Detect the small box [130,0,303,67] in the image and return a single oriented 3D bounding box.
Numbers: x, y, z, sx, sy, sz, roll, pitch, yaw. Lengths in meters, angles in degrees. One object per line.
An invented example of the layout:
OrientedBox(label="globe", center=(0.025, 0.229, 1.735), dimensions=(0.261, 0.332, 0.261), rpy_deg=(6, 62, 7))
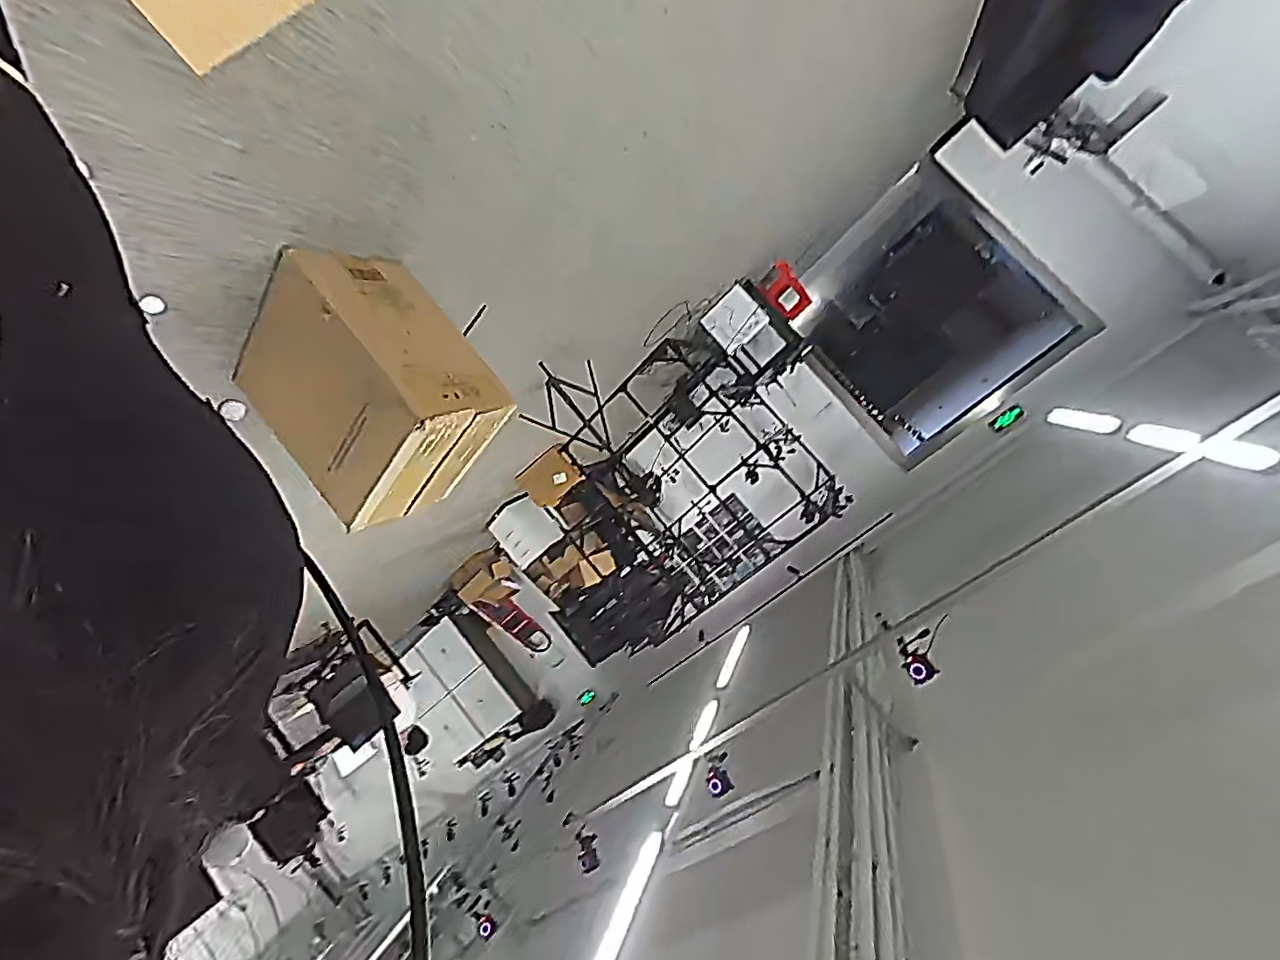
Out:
OrientedBox(label="small box", center=(-0.504, -0.604, 0.564), dimensions=(0.179, 0.176, 0.168), rpy_deg=(-39, 175, -7))
